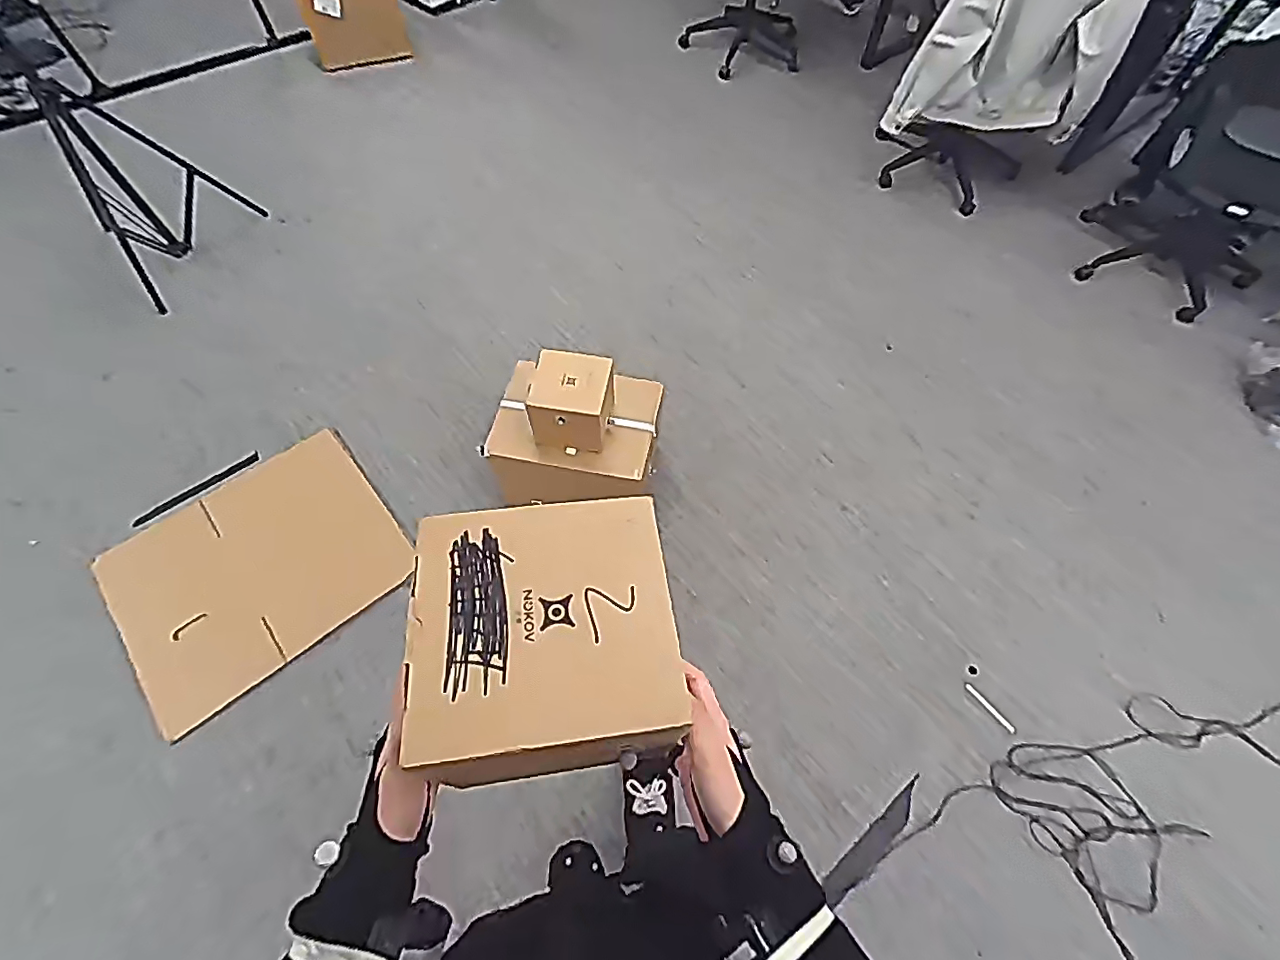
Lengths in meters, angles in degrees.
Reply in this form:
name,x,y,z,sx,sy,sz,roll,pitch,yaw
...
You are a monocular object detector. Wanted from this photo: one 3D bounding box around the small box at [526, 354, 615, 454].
name,x,y,z,sx,sy,sz,roll,pitch,yaw
small box,-0.160,-0.179,1.312,0.179,0.176,0.168,8,63,3
